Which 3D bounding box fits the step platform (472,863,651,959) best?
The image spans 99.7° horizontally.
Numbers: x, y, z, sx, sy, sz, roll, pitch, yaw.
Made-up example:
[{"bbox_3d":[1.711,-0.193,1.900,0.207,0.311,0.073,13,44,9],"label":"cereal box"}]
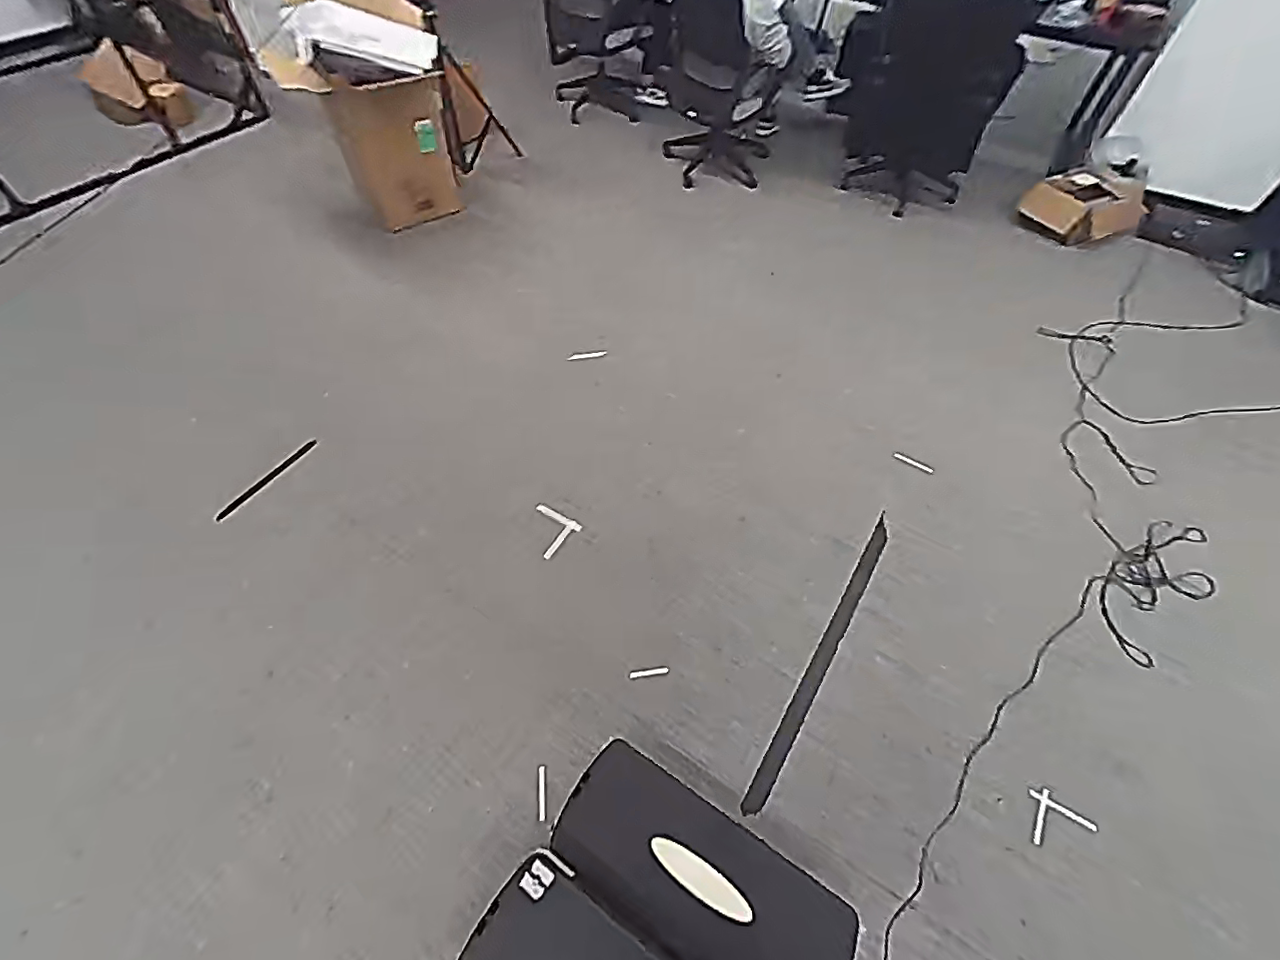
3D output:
[{"bbox_3d":[-0.020,1.080,1.003,0.684,0.204,0.286,31,58,22],"label":"step platform"}]
